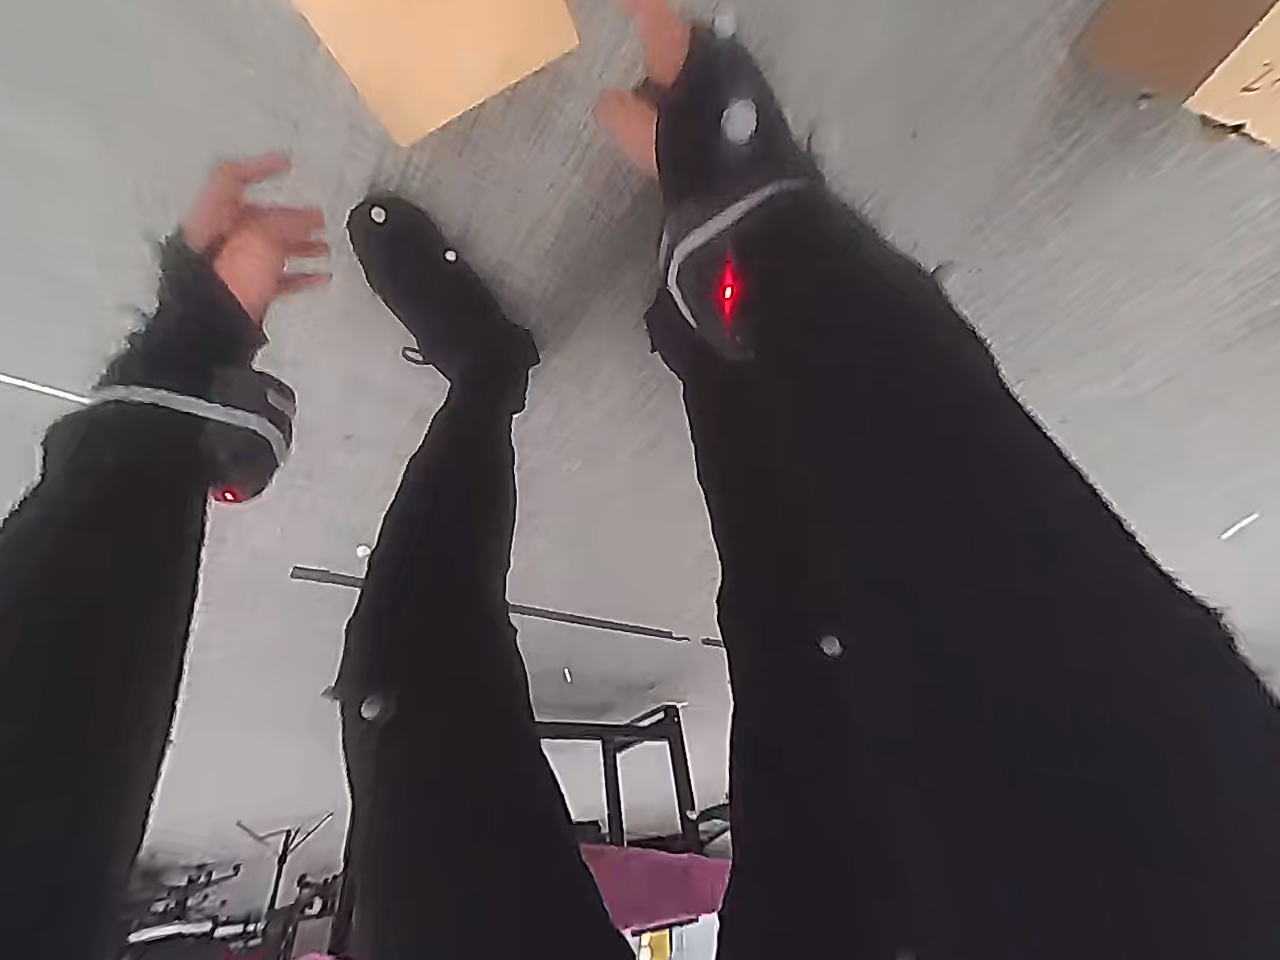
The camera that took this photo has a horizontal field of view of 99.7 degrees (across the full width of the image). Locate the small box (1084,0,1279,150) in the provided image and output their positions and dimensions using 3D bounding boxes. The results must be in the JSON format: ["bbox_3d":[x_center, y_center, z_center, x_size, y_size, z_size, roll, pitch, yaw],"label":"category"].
[{"bbox_3d":[0.578,-0.451,0.494,0.168,0.176,0.179,6,142,-19],"label":"small box"}]
